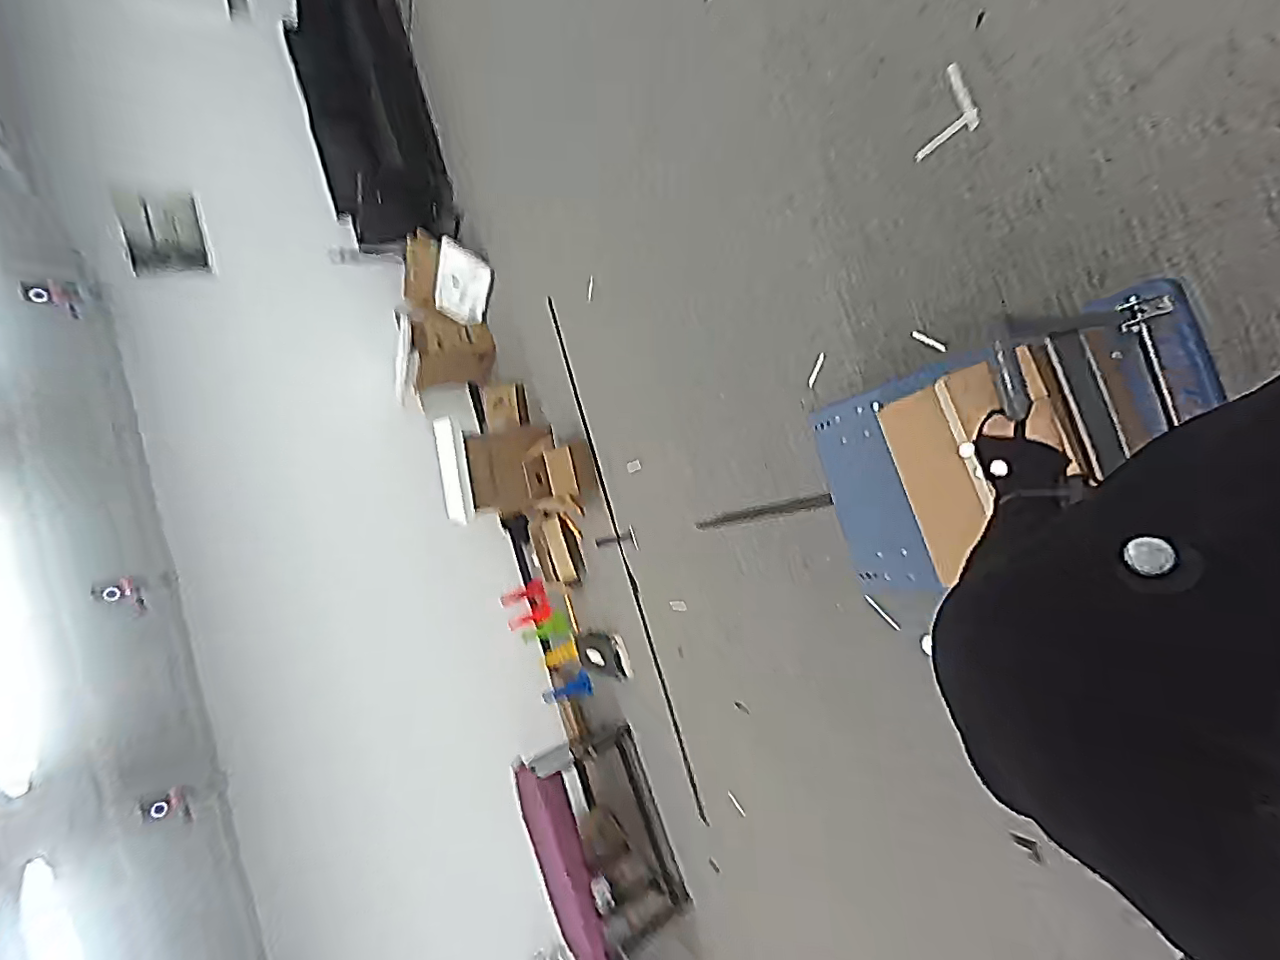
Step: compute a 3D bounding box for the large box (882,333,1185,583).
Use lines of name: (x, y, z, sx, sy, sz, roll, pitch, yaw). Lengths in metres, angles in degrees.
large box: (0.777, -0.038, 1.092, 0.320, 0.320, 0.408, -28, 77, 58)
